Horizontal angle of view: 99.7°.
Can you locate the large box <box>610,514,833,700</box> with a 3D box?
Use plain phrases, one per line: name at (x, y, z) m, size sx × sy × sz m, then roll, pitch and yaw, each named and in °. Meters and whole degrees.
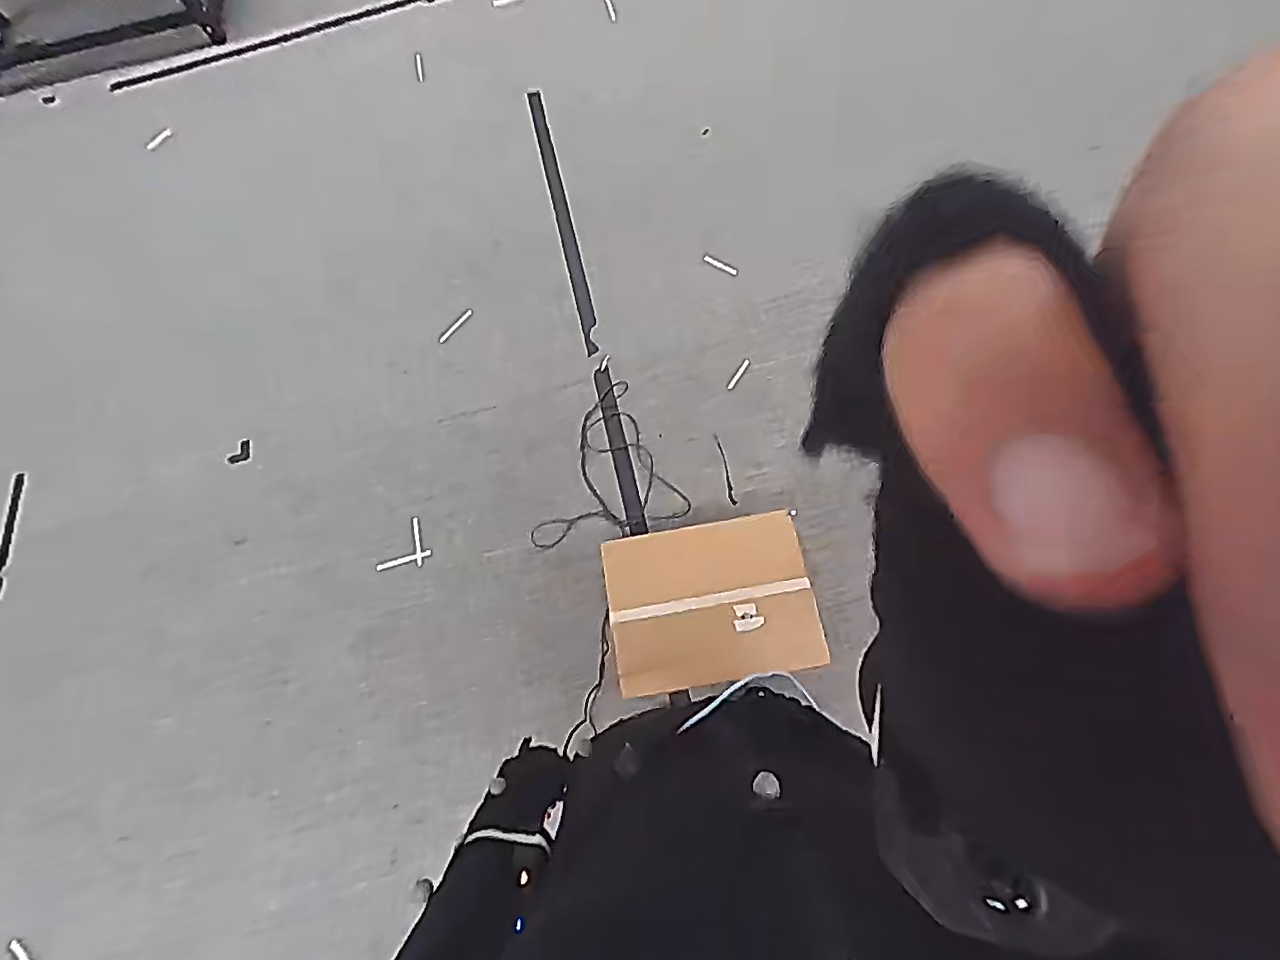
large box at (0.165, 0.300, 1.228) m, size 0.408 × 0.320 × 0.320 m, roll -10°, pitch 70°, yaw 2°
